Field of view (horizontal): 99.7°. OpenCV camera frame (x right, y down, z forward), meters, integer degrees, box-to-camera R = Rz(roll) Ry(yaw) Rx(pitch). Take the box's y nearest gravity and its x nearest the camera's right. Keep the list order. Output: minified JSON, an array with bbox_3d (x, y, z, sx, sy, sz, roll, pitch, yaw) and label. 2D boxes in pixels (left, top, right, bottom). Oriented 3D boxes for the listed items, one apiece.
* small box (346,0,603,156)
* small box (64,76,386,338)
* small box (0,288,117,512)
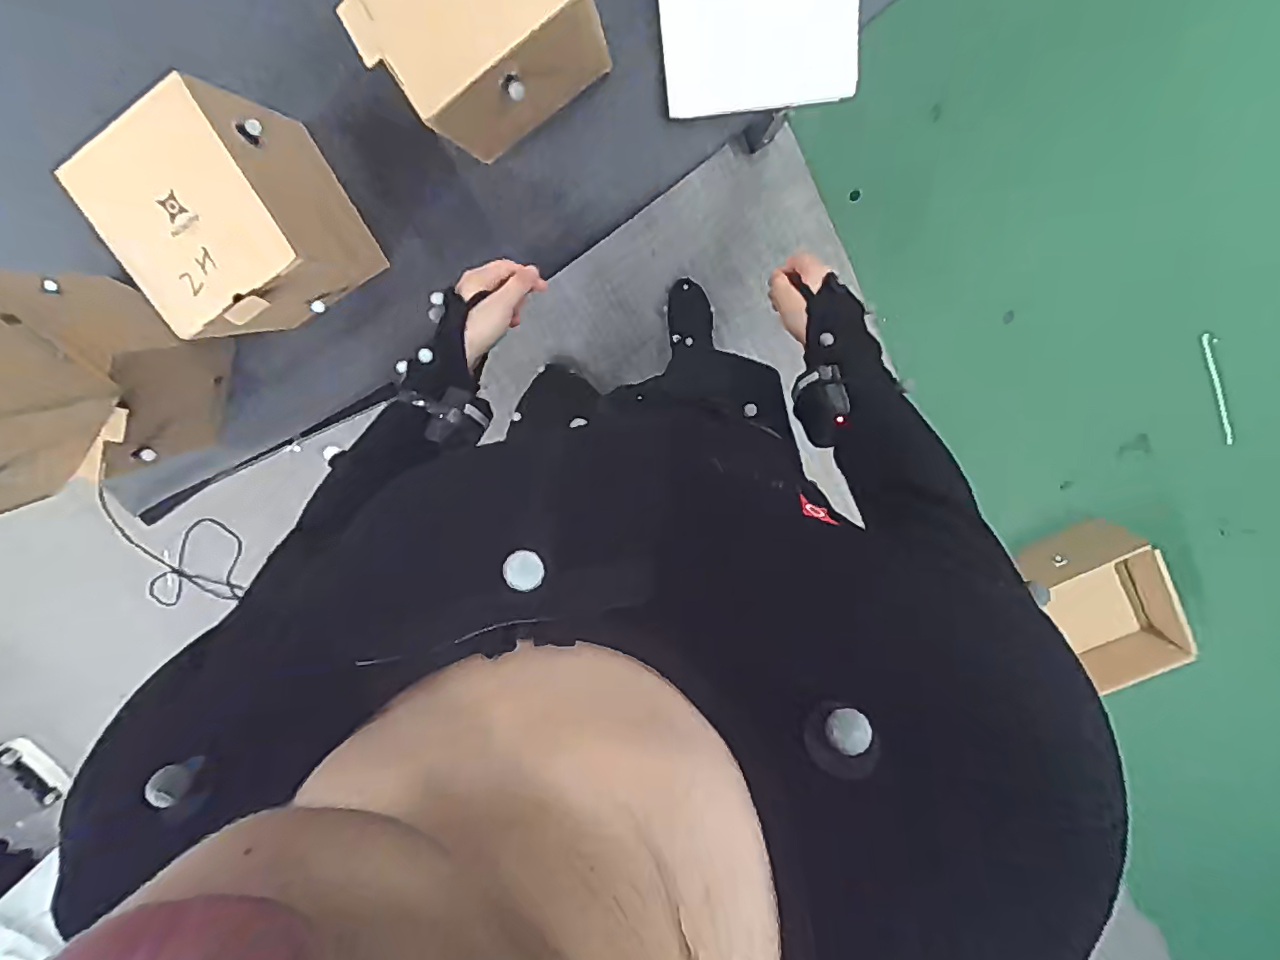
[{"bbox_3d":[-0.148,-0.440,0.500,0.179,0.176,0.168,-29,105,15],"label":"small box"},{"bbox_3d":[-0.423,-0.275,0.584,0.168,0.176,0.179,-25,106,14],"label":"small box"},{"bbox_3d":[-0.663,-0.064,0.507,0.168,0.176,0.179,43,109,-12],"label":"small box"}]
